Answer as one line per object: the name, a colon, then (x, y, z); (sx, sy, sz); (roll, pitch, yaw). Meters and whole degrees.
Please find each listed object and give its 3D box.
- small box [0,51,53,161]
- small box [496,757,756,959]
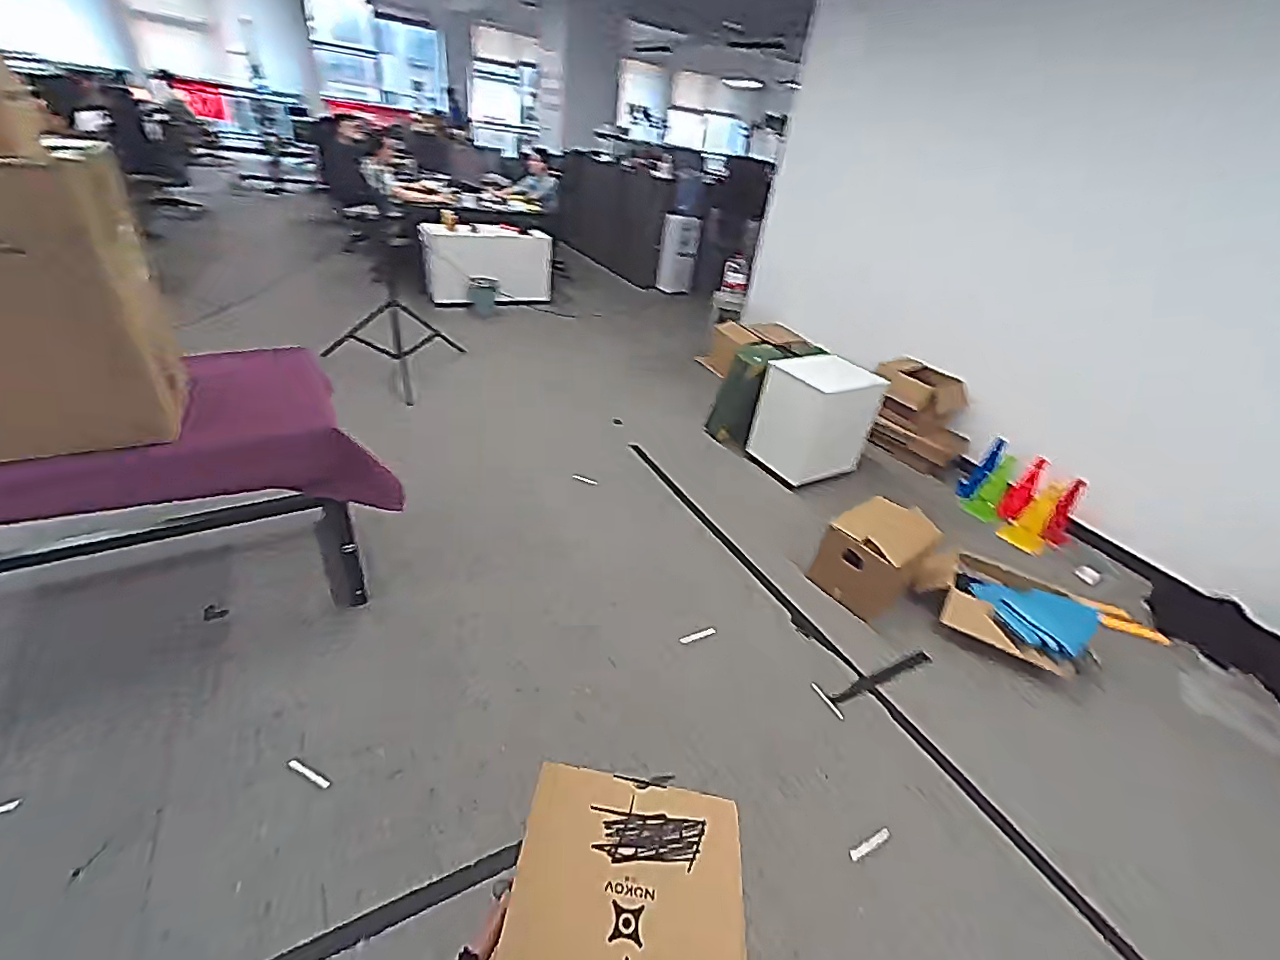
small box: (-1.264, -0.708, 1.013); (0.168, 0.176, 0.179); (-11, 38, -28)
small box: (-0.020, 0.352, 0.409); (0.168, 0.176, 0.179); (13, 32, -4)
